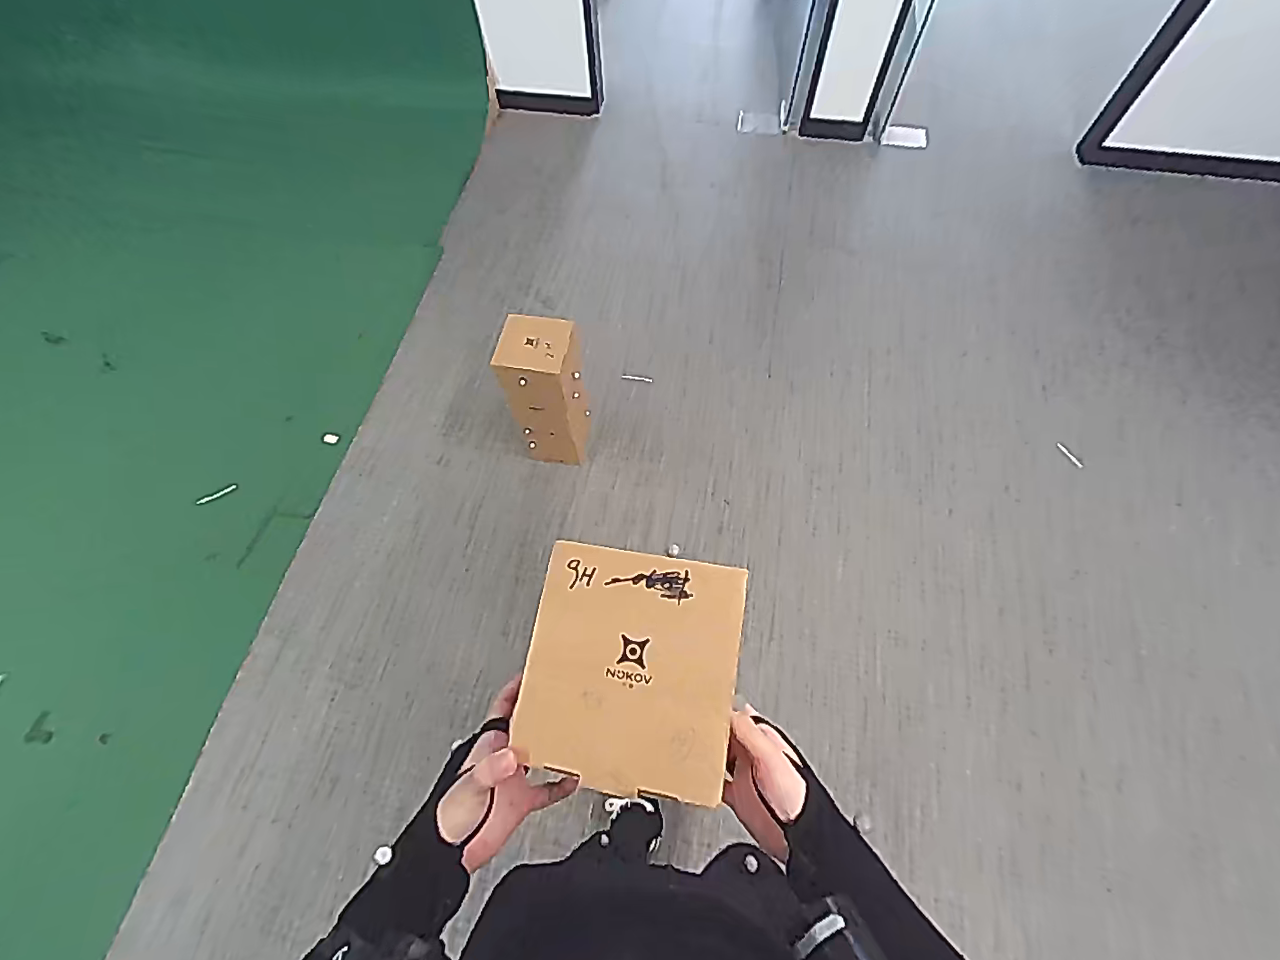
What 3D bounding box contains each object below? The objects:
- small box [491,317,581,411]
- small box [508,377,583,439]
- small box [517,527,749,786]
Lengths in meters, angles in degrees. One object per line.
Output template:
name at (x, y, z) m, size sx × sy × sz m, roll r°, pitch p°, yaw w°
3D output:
small box at (-0.262, -0.297, 1.408) m, size 0.179 × 0.176 × 0.168 m, roll 9°, pitch 65°, yaw 5°
small box at (-0.264, -0.235, 1.562) m, size 0.168 × 0.176 × 0.179 m, roll 8°, pitch 64°, yaw 4°
small box at (0.004, 0.156, 0.507) m, size 0.168 × 0.176 × 0.179 m, roll 8°, pitch 73°, yaw 8°
